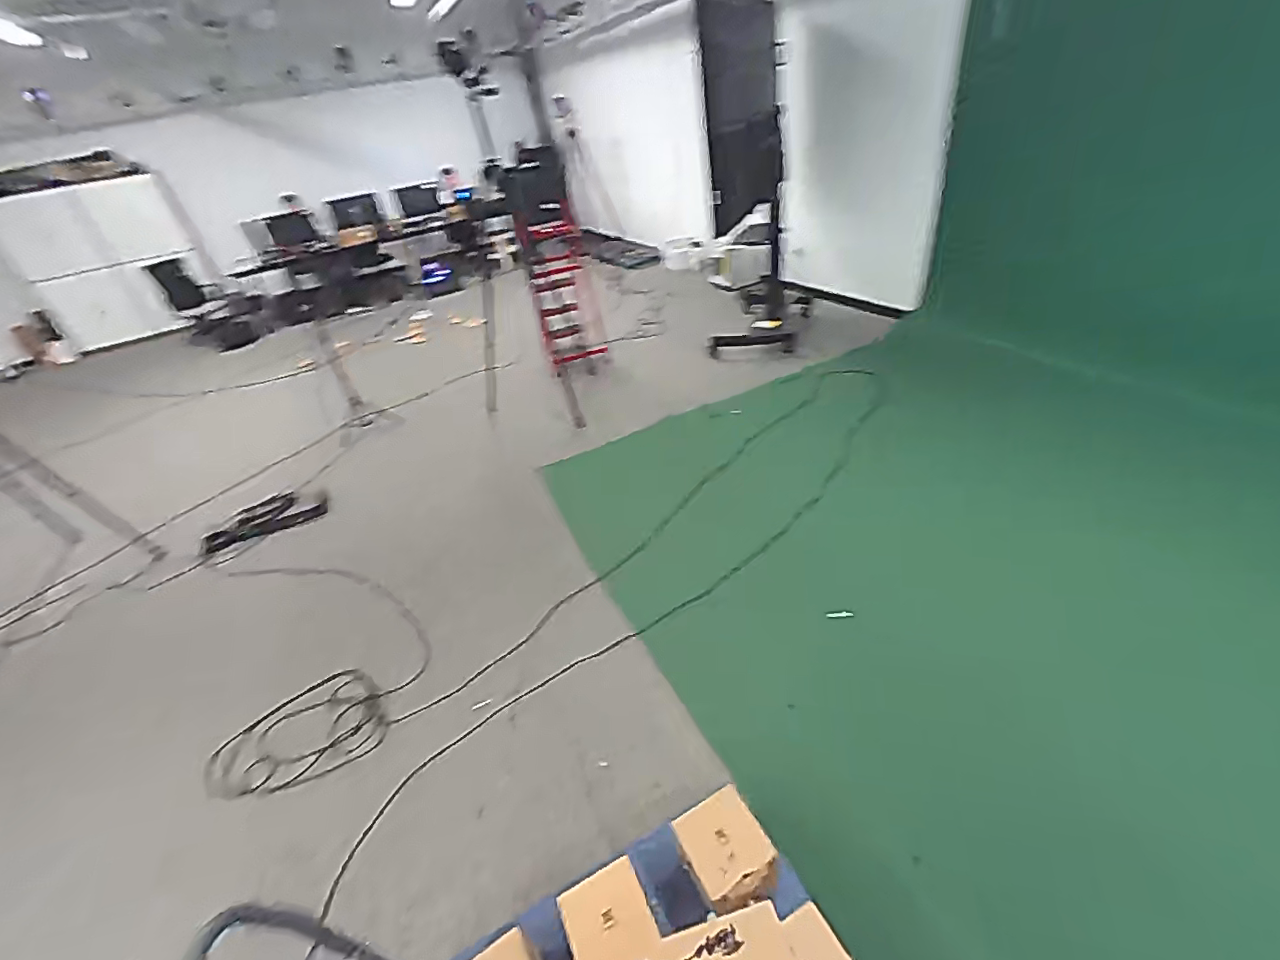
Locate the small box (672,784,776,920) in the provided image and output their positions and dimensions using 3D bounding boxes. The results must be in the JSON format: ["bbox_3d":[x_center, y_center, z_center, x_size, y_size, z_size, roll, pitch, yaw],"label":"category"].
[{"bbox_3d":[0.191,0.848,1.228,0.168,0.176,0.179,-24,37,-17],"label":"small box"}]

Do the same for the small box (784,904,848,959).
[{"bbox_3d":[0.322,0.979,1.037,0.168,0.176,0.179,-23,36,-18],"label":"small box"}]

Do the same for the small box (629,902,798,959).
[{"bbox_3d":[0.096,0.574,0.531,0.168,0.176,0.179,-13,30,-7],"label":"small box"}]

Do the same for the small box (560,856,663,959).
[{"bbox_3d":[-0.052,0.959,1.144,0.168,0.176,0.179,-23,38,-17],"label":"small box"}]
